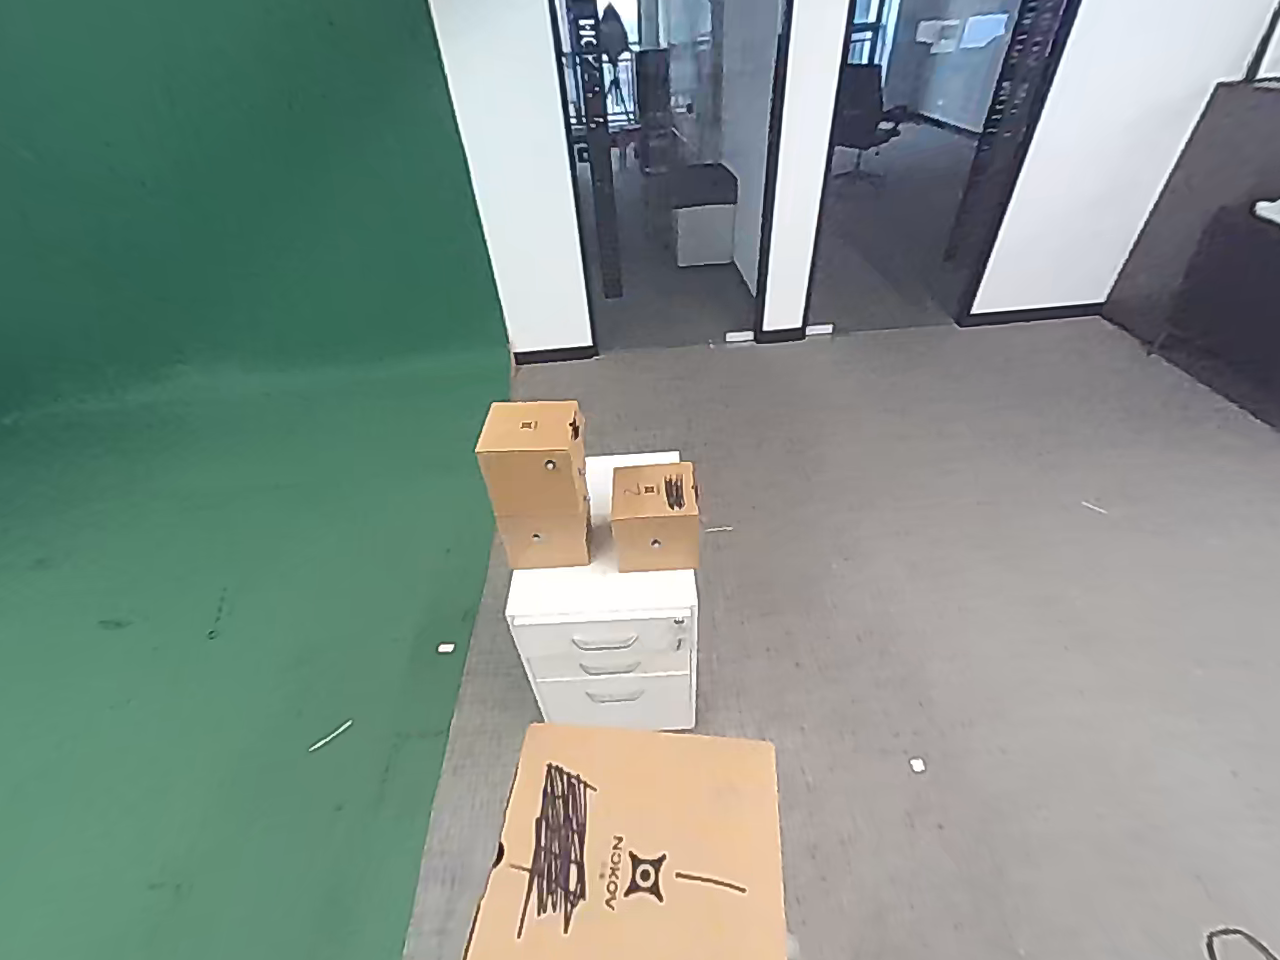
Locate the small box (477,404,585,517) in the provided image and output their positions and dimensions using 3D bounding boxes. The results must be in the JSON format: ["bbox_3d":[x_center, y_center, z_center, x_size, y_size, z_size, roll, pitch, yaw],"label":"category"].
[{"bbox_3d":[-0.210,-0.038,1.094,0.179,0.176,0.168,-1,40,0],"label":"small box"}]

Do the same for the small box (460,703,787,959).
[{"bbox_3d":[0.005,0.281,0.379,0.179,0.176,0.168,1,41,9],"label":"small box"}]

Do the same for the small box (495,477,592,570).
[{"bbox_3d":[-0.206,0.085,1.202,0.179,0.176,0.168,-3,41,-1],"label":"small box"}]
